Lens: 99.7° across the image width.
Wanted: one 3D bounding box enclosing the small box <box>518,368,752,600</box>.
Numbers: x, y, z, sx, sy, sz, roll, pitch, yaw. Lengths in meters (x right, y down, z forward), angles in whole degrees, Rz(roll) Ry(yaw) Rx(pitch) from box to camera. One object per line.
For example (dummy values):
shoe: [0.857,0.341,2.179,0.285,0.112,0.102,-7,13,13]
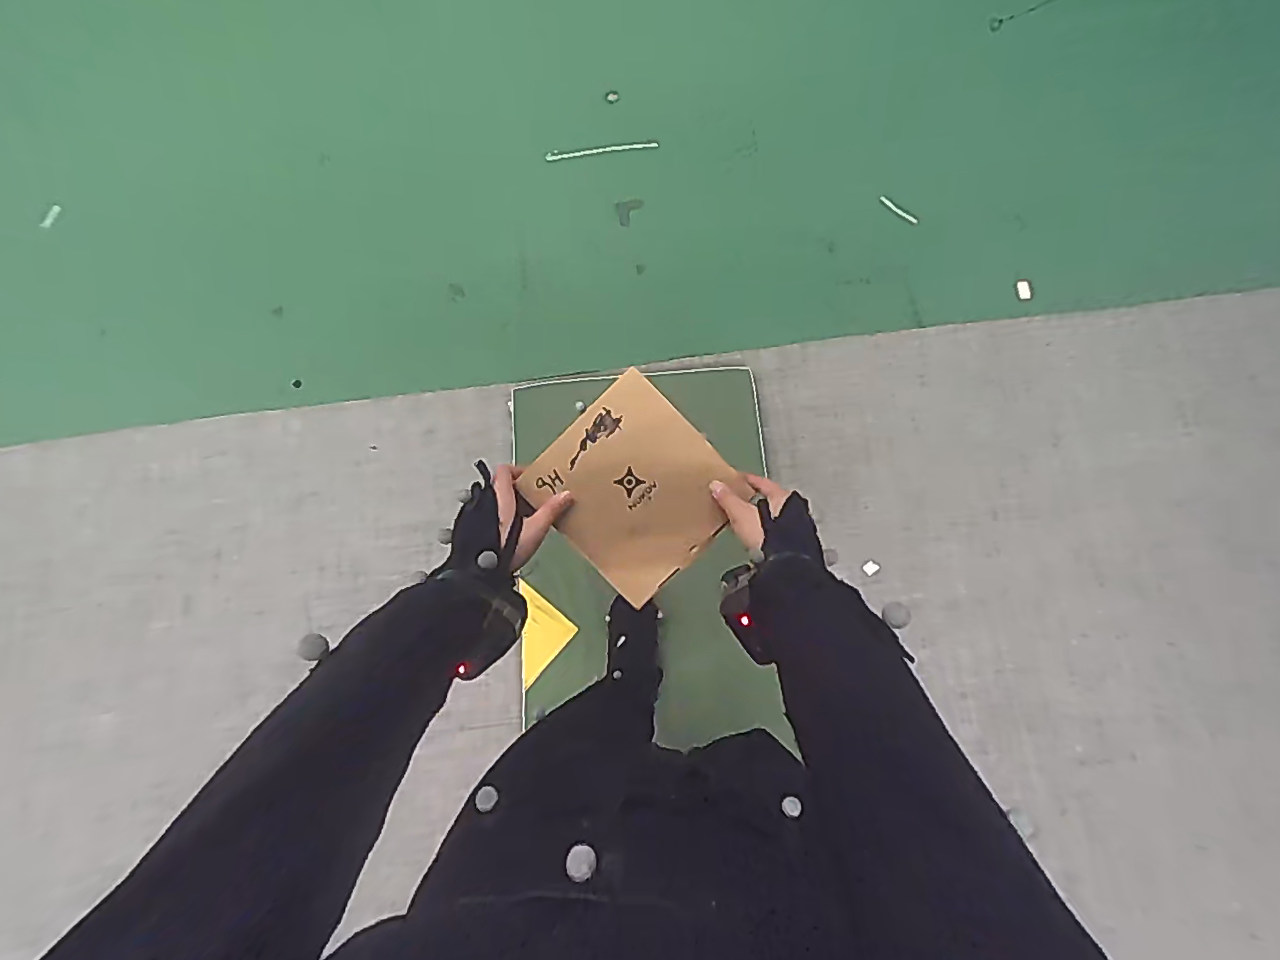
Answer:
small box: [-0.005,0.000,0.610,0.168,0.176,0.179,-44,93,1]
